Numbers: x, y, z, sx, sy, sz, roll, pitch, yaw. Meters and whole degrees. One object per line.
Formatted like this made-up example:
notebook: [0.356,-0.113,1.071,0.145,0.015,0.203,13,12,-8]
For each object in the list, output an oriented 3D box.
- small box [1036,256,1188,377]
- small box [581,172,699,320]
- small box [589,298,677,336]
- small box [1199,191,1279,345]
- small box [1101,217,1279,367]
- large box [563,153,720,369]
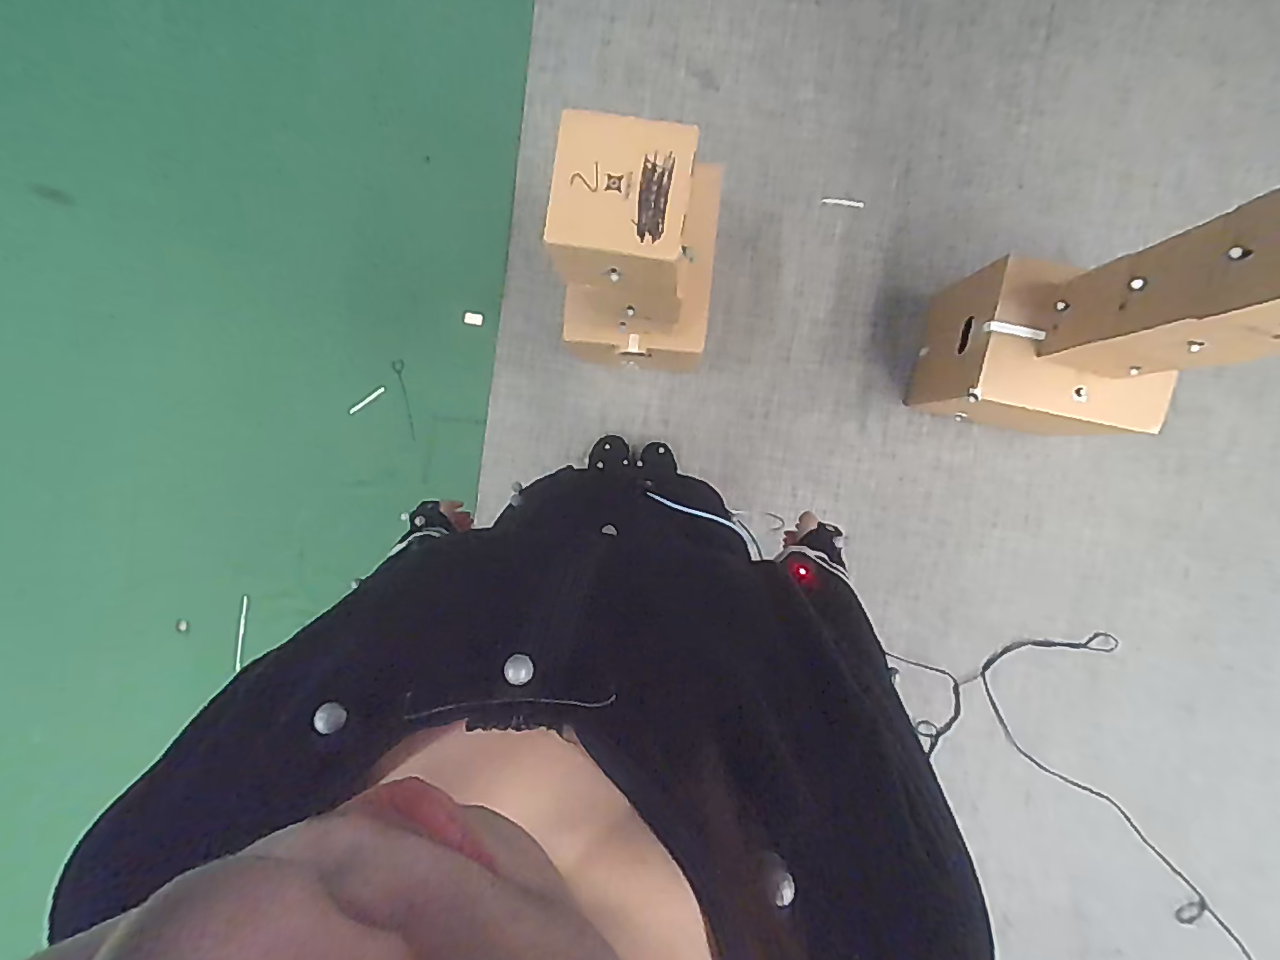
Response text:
small box: [0.936,-0.307,1.056,0.179,0.176,0.168,16,92,1]
small box: [0.003,-0.383,0.915,0.168,0.176,0.179,8,93,1]
small box: [0.001,-0.396,1.080,0.168,0.176,0.179,8,93,2]
small box: [0.928,-0.292,0.728,0.168,0.176,0.179,16,93,0]
small box: [0.934,-0.296,0.892,0.179,0.176,0.168,17,92,1]
large box: [0.008,-0.500,1.316,0.320,0.320,0.408,6,93,1]
